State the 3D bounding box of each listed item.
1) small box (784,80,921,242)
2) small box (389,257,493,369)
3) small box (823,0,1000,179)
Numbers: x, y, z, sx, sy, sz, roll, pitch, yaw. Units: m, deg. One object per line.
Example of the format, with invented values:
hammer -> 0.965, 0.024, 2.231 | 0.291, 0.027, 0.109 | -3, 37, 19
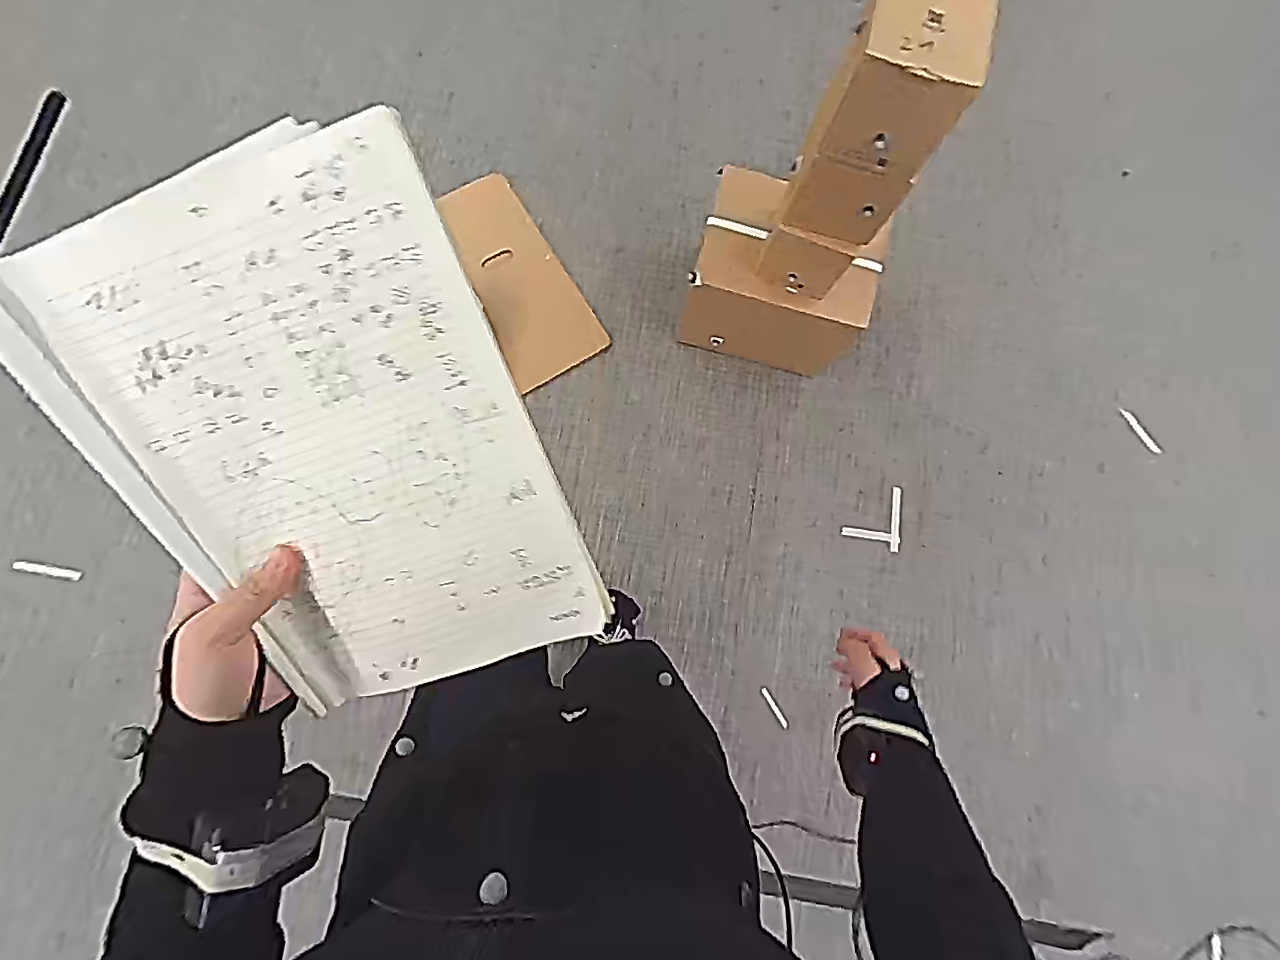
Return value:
small box -> 0.381, -0.558, 0.968 | 0.179, 0.176, 0.168 | 14, 78, -1
small box -> -0.482, -0.409, 1.345 | 0.179, 0.176, 0.168 | -33, 84, -11
small box -> 0.394, -0.601, 0.809 | 0.168, 0.176, 0.179 | 16, 78, -1
